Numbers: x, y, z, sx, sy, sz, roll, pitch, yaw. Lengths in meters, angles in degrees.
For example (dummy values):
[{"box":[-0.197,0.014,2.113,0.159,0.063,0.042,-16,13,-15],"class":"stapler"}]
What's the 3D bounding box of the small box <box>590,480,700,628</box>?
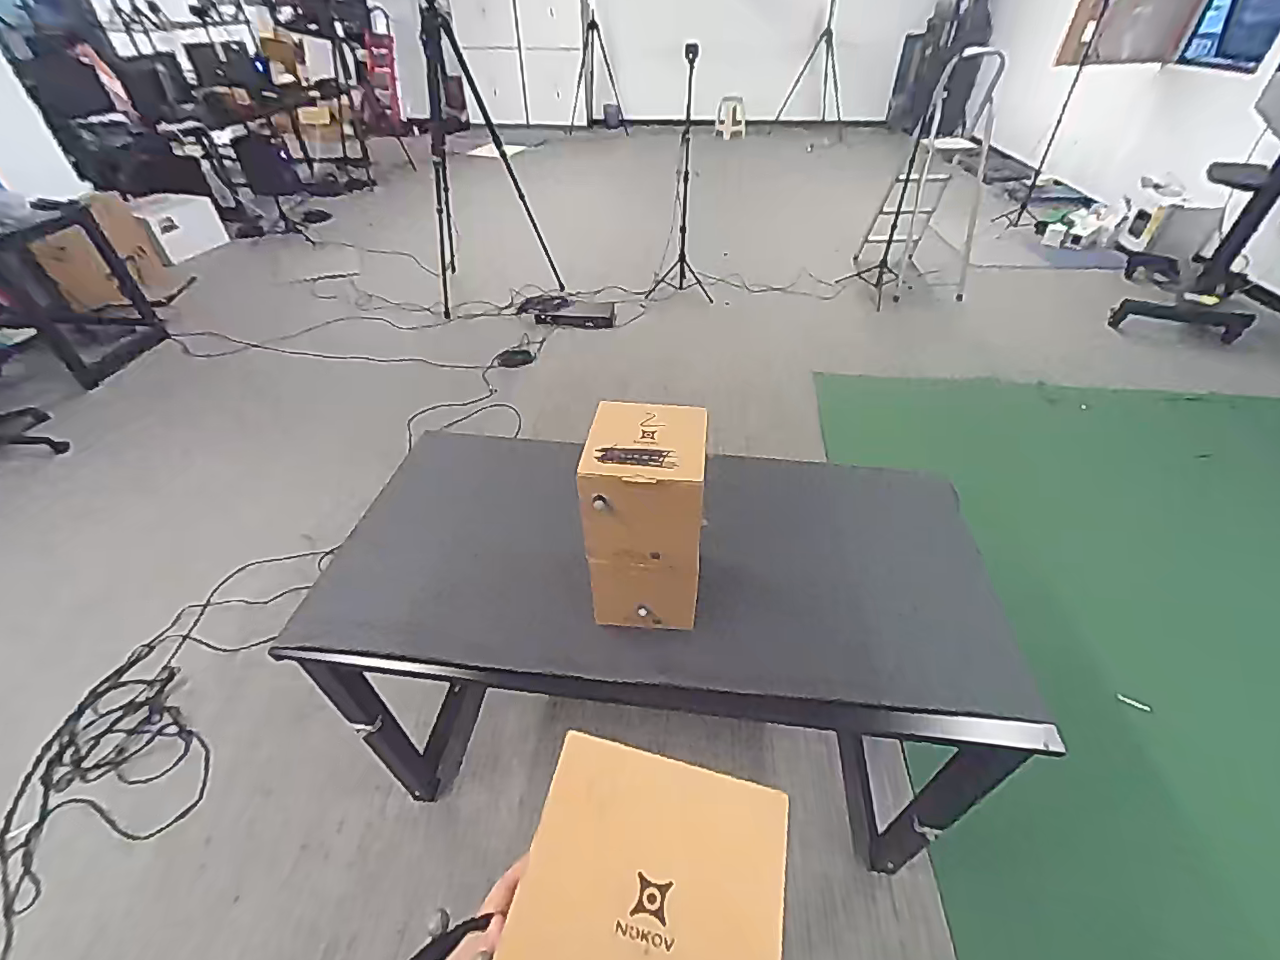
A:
[{"box":[0.012,0.121,0.906,0.168,0.176,0.179,2,41,3],"class":"small box"}]
